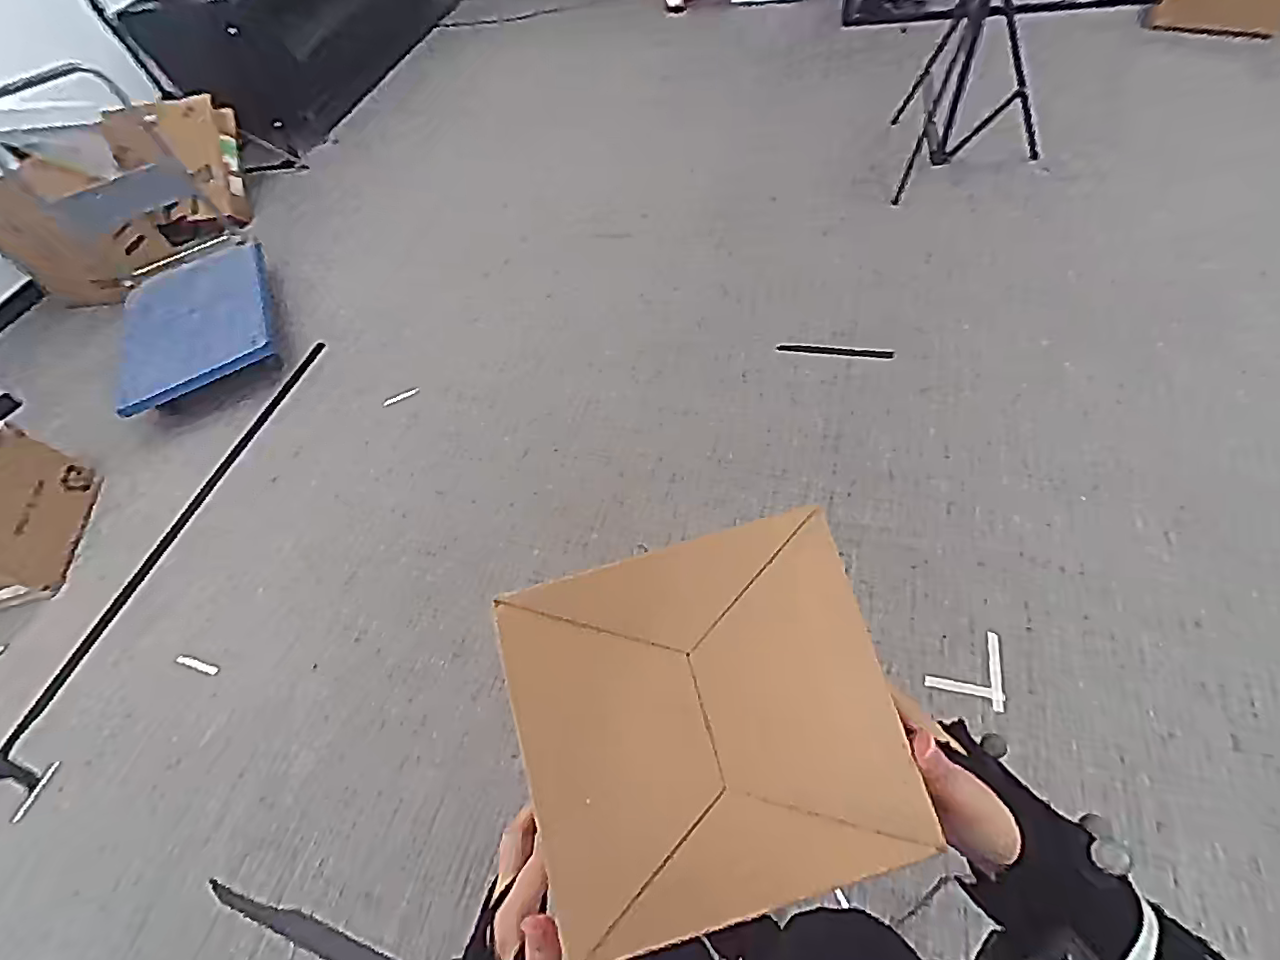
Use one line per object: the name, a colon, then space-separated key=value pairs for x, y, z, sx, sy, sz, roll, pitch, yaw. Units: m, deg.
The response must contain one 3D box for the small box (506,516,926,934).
small box: x=0.036 y=0.127 z=0.334 sx=0.179 sy=0.176 sz=0.168 roll=-15 pitch=77 yaw=-3
